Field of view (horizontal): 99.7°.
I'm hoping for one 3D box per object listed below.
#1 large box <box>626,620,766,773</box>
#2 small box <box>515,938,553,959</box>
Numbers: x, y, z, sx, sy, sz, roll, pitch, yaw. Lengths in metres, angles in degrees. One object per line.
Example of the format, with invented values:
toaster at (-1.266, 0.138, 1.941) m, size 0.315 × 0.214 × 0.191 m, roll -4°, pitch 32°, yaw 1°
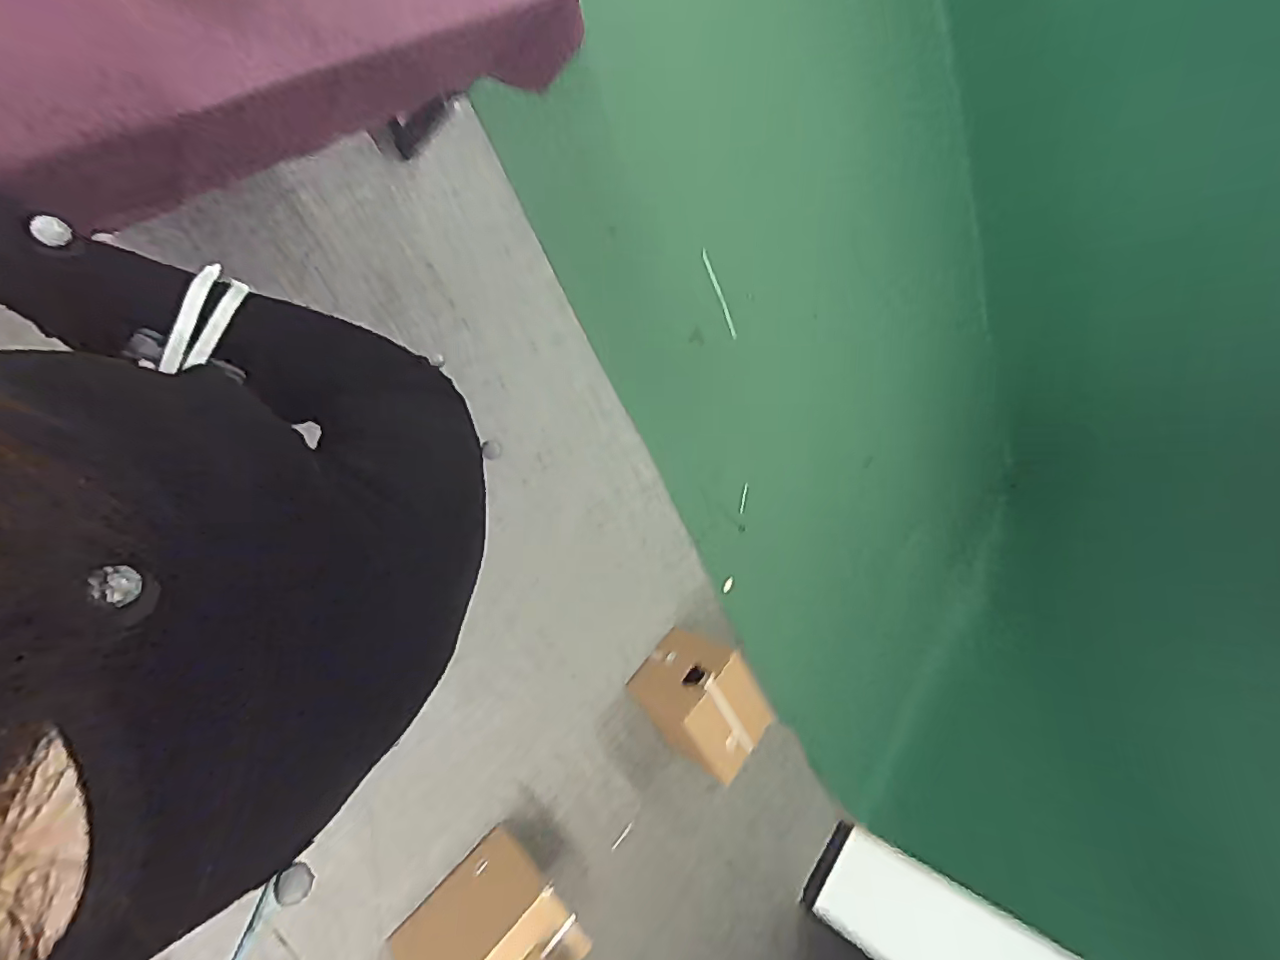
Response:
large box at (0.215, 0.806, 2.047) m, size 0.320 × 0.320 × 0.408 m, roll -44°, pitch 121°, yaw -28°
small box at (-0.270, 1.356, 1.393) m, size 0.179 × 0.176 × 0.168 m, roll -34°, pitch 118°, yaw -32°
